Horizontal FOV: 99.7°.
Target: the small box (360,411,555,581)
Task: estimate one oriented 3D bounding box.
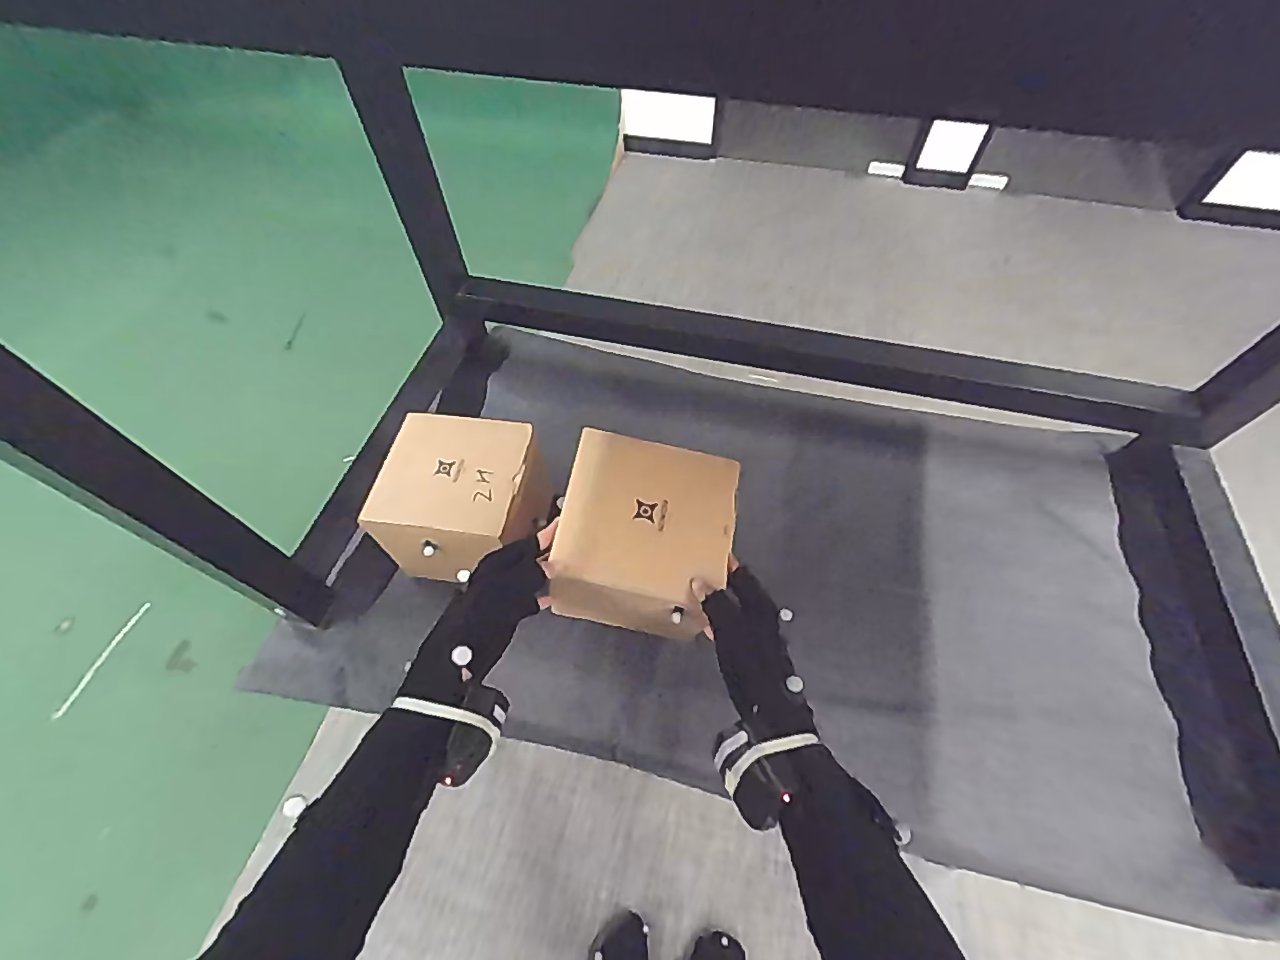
[{"bbox_3d":[-0.227,0.026,0.727,0.179,0.176,0.168,4,58,6],"label":"small box"}]

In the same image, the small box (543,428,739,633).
[{"bbox_3d":[-0.001,0.067,0.614,0.179,0.176,0.168,12,64,-1],"label":"small box"}]
